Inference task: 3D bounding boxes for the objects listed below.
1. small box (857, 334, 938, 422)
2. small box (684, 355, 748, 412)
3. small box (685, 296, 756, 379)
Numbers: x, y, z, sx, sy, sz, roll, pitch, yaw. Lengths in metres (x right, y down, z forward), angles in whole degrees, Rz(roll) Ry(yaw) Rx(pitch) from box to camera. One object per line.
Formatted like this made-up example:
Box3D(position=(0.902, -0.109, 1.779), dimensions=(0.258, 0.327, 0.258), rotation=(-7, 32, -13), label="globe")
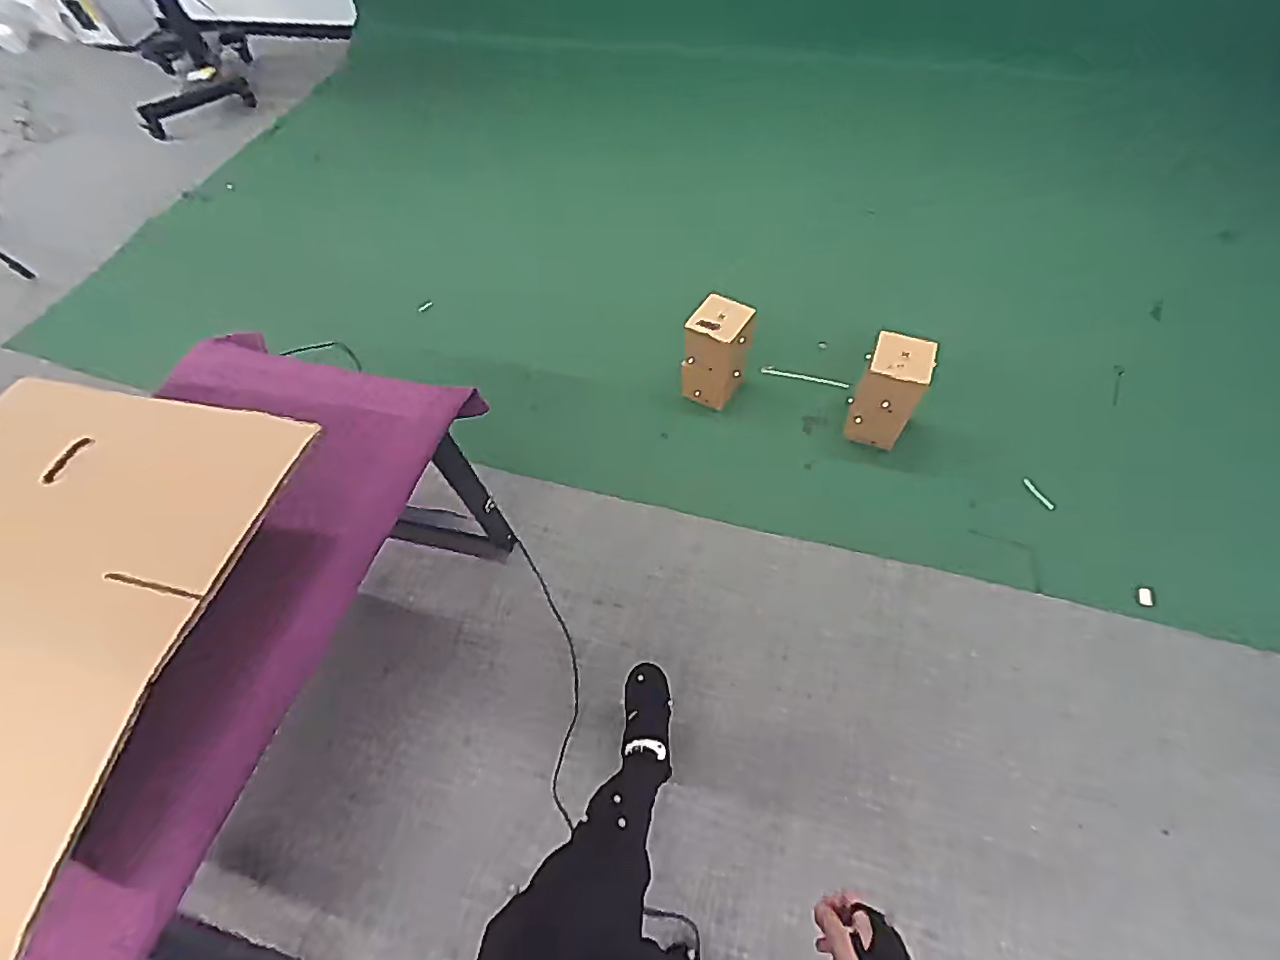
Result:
Box3D(position=(0.779, -0.309, 1.646), dimensions=(0.168, 0.176, 0.179), rotation=(19, 62, 15), label="small box")
Box3D(position=(0.265, -0.376, 1.923), dimensions=(0.168, 0.176, 0.179), rotation=(26, 66, 19), label="small box")
Box3D(position=(0.264, -0.464, 1.784), dimensions=(0.168, 0.176, 0.179), rotation=(29, 65, 20), label="small box")
